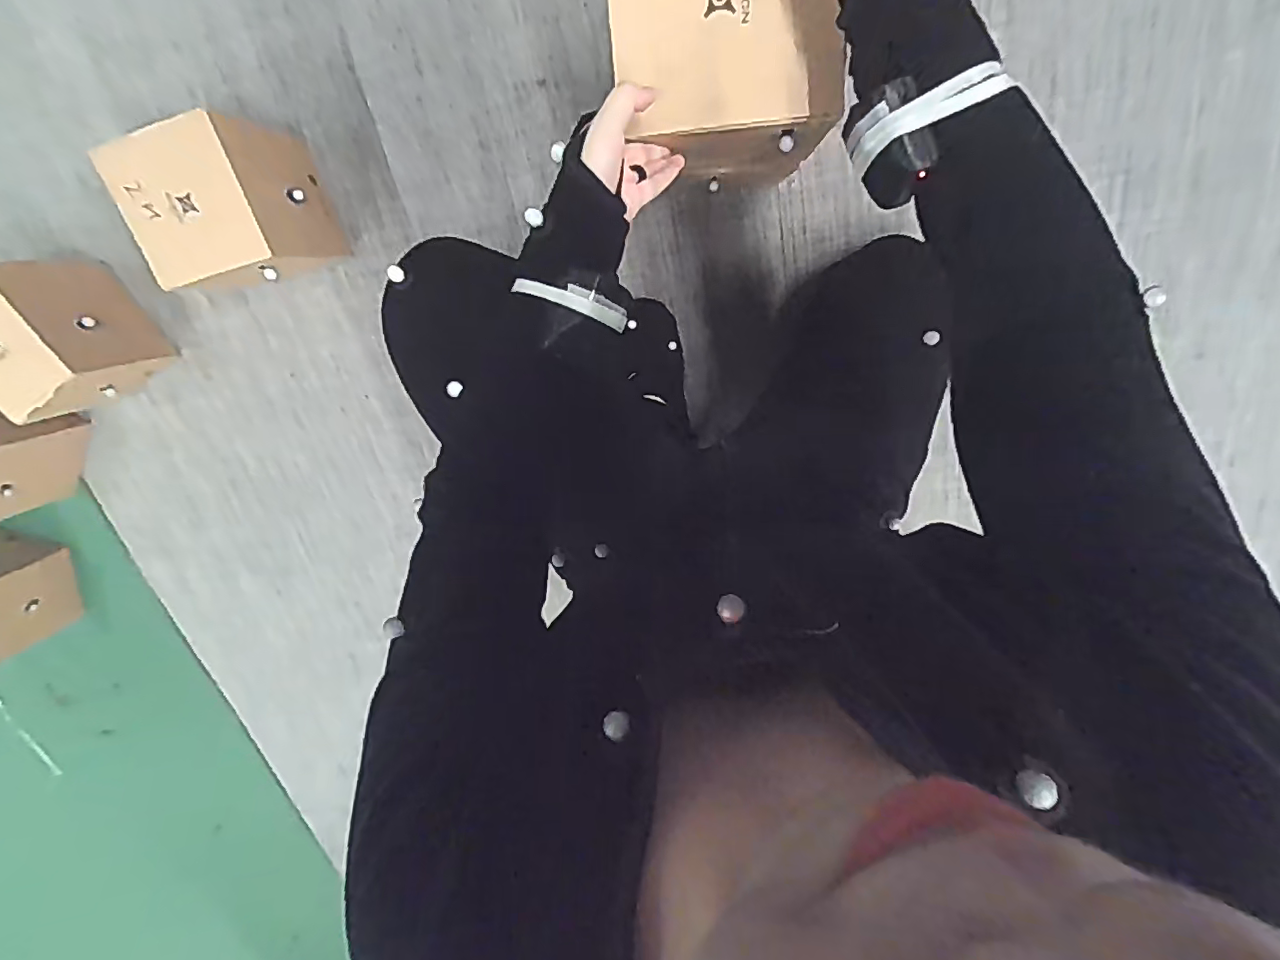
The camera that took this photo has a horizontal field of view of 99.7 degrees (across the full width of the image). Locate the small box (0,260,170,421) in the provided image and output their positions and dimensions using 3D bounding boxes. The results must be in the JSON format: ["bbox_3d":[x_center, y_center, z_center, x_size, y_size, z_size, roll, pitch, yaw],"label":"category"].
[{"bbox_3d":[-0.904,-0.223,0.841,0.168,0.176,0.179,-26,108,17],"label":"small box"}]

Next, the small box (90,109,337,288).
[{"bbox_3d":[-0.550,-0.369,0.732,0.179,0.176,0.168,-10,111,11],"label":"small box"}]

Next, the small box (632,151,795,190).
[{"bbox_3d":[0.086,-0.438,0.626,0.179,0.176,0.168,1,114,6],"label":"small box"}]

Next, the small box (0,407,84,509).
[{"bbox_3d":[-1.136,-0.061,0.939,0.168,0.176,0.179,34,112,-7],"label":"small box"}]

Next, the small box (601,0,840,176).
[{"bbox_3d":[0.066,-0.378,0.471,0.179,0.176,0.168,-3,110,7],"label":"small box"}]
